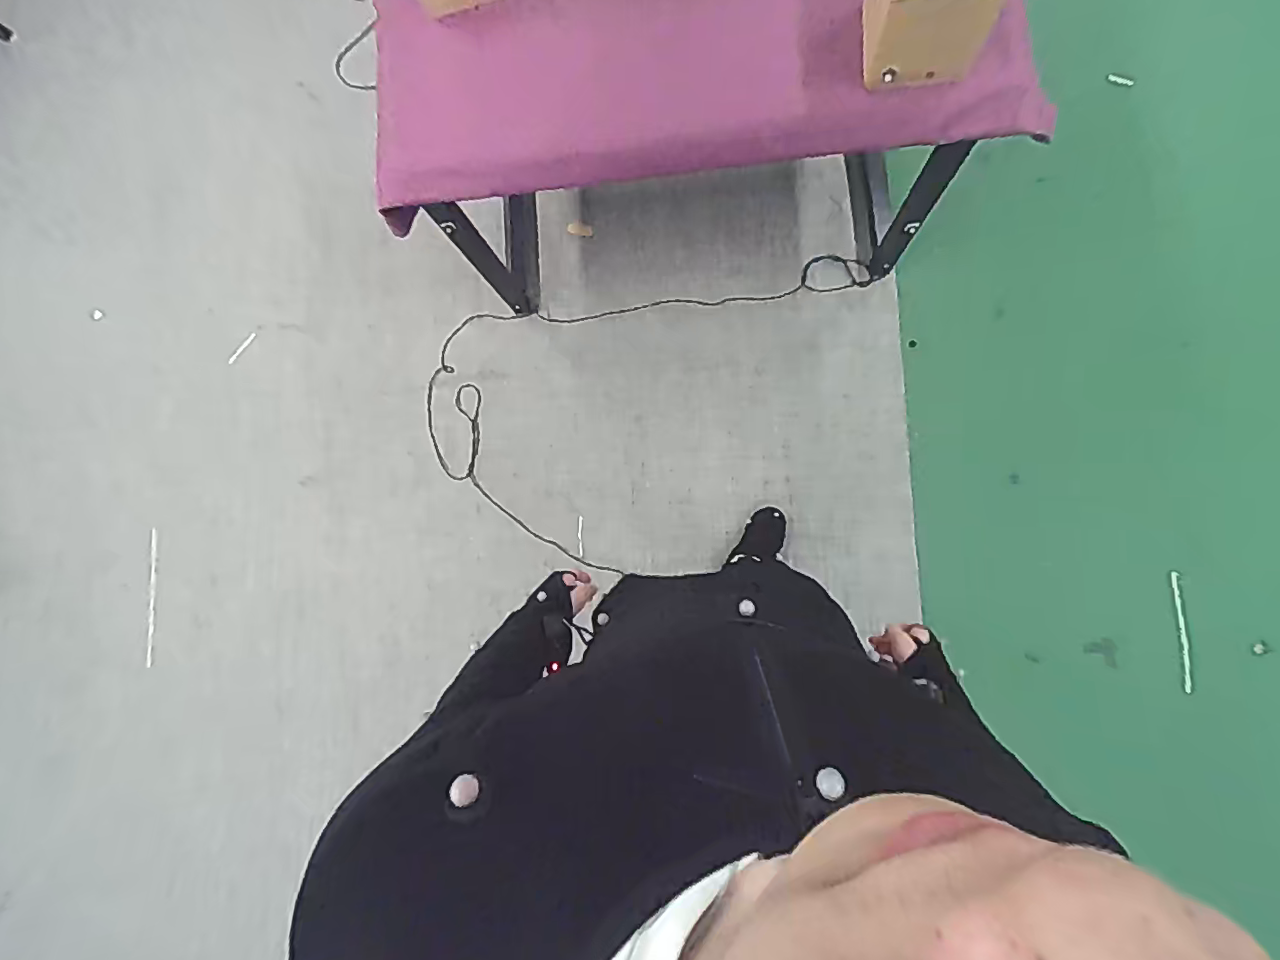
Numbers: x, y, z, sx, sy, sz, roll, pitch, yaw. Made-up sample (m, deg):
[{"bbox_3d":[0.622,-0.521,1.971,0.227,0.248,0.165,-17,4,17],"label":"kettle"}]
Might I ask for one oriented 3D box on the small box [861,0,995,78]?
[{"bbox_3d":[0.465,-0.790,0.873,0.168,0.176,0.179,1,83,8],"label":"small box"}]
